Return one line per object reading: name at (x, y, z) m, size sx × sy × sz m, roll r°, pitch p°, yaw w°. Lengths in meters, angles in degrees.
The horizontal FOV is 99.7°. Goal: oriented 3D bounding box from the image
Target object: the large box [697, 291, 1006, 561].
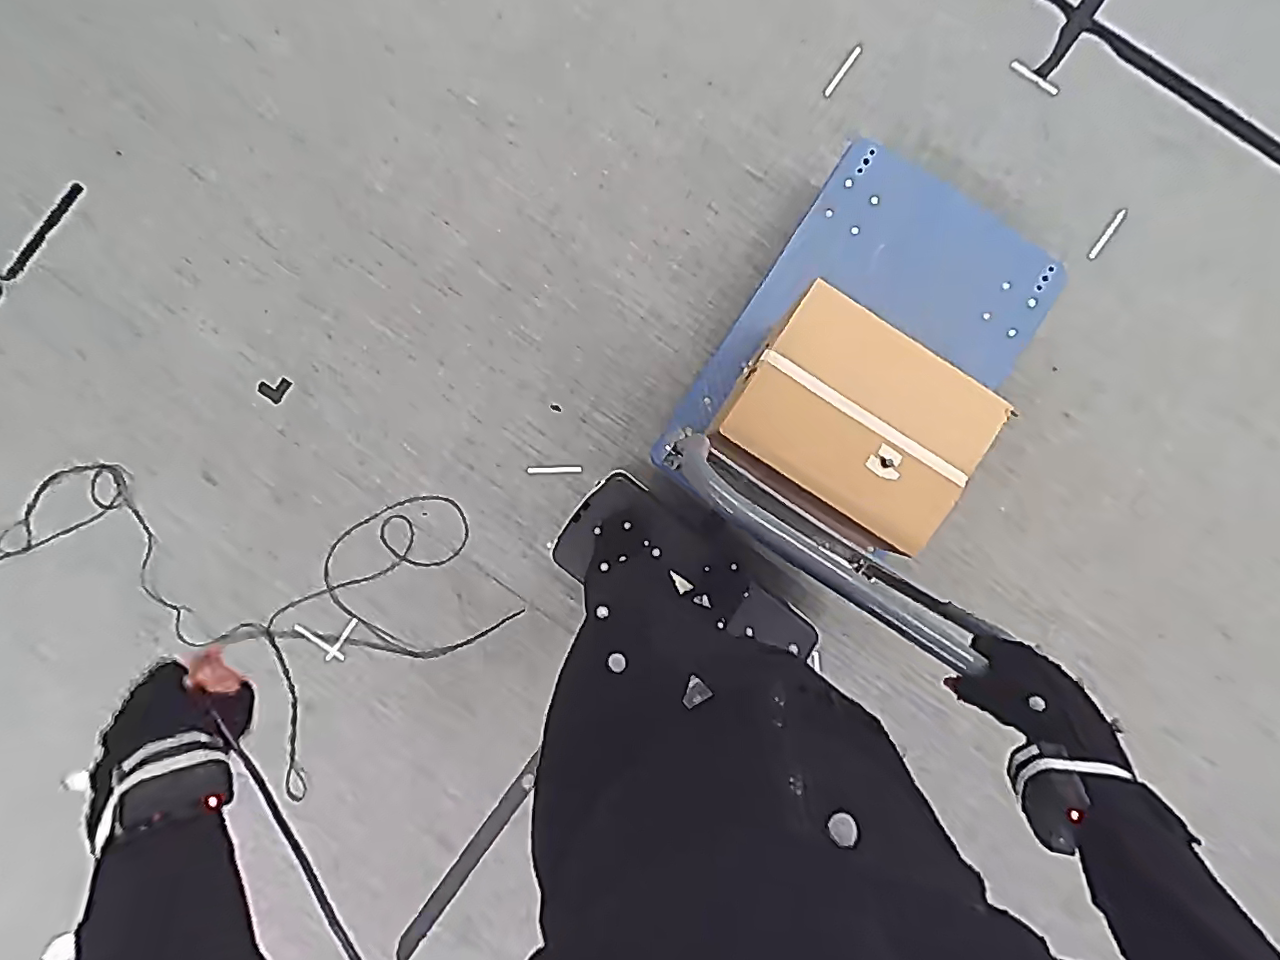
large box at (0.373, -0.092, 1.061) m, size 0.408 × 0.320 × 0.320 m, roll 33°, pitch 91°, yaw -1°
